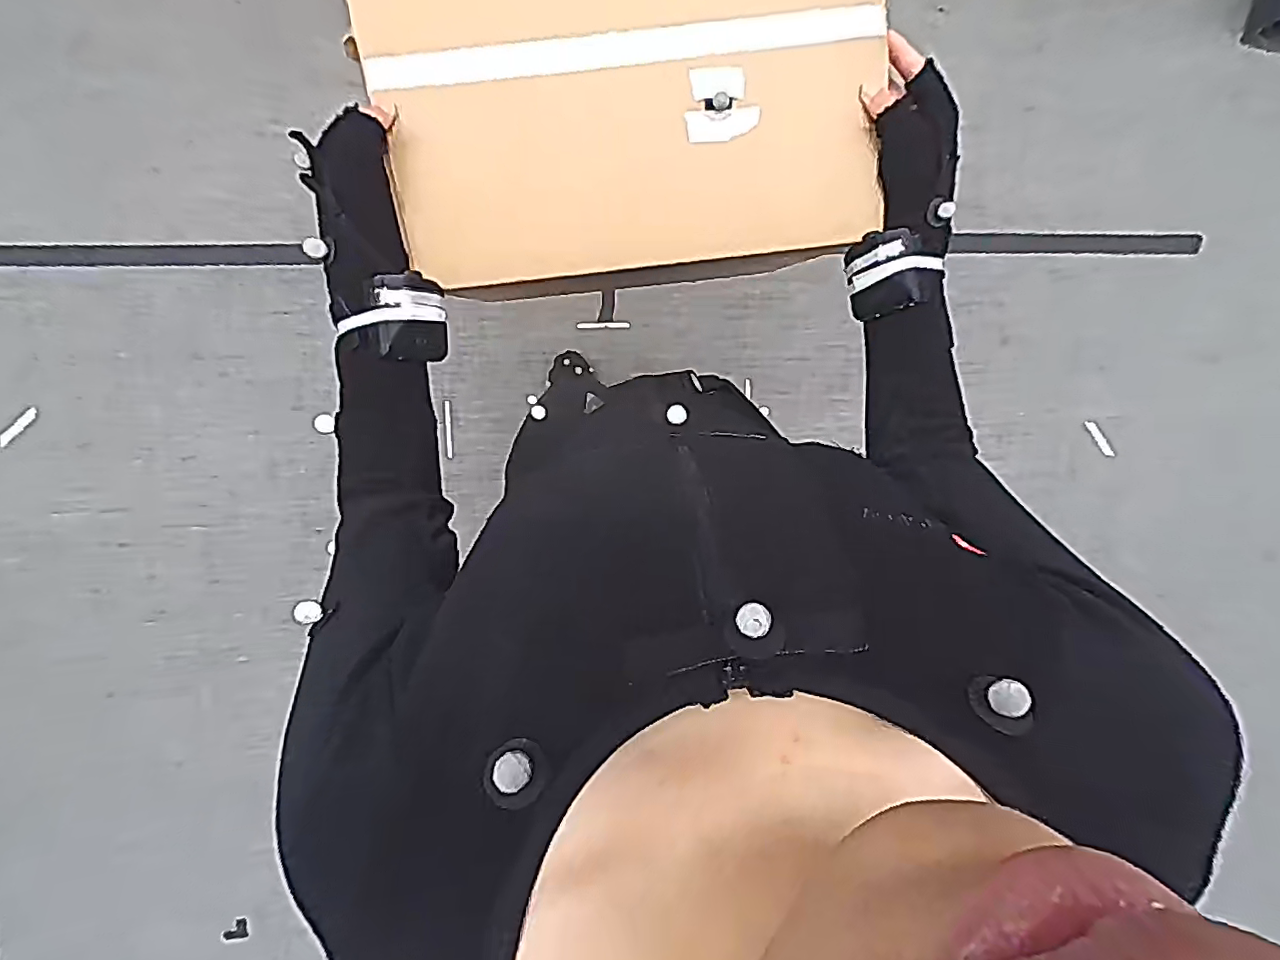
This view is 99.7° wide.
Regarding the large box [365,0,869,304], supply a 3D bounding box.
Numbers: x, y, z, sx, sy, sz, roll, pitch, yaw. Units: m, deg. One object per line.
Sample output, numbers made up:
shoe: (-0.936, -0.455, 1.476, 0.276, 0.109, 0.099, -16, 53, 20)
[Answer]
large box: (-0.021, -0.379, 0.580, 0.408, 0.320, 0.320, -7, 107, -2)
